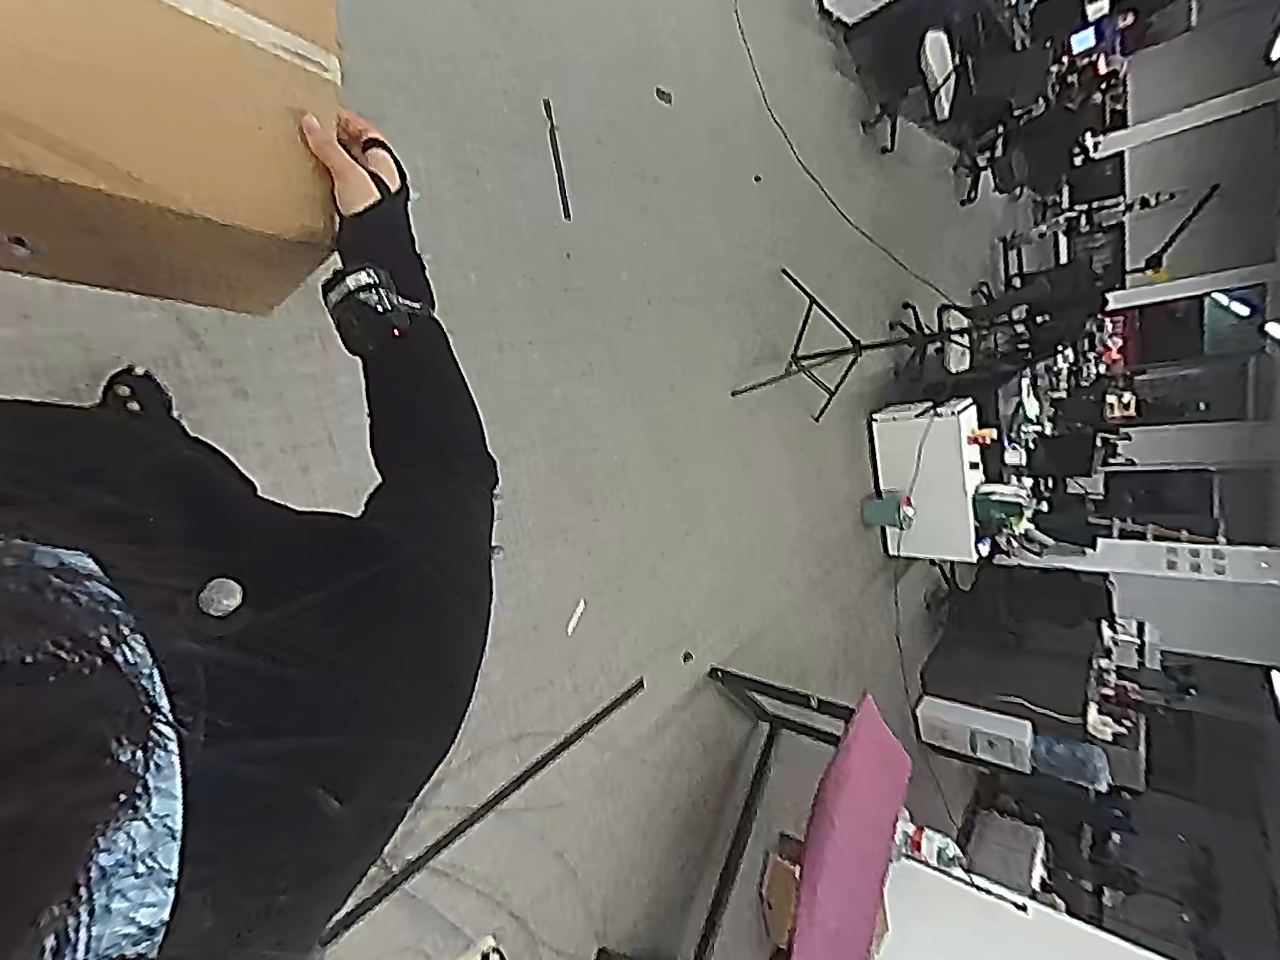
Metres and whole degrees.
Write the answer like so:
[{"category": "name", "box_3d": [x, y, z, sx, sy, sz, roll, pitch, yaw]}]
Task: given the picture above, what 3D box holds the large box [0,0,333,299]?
[{"category": "large box", "box_3d": [-0.522, -0.371, 0.456, 0.408, 0.320, 0.320, -1, 91, -44]}]
